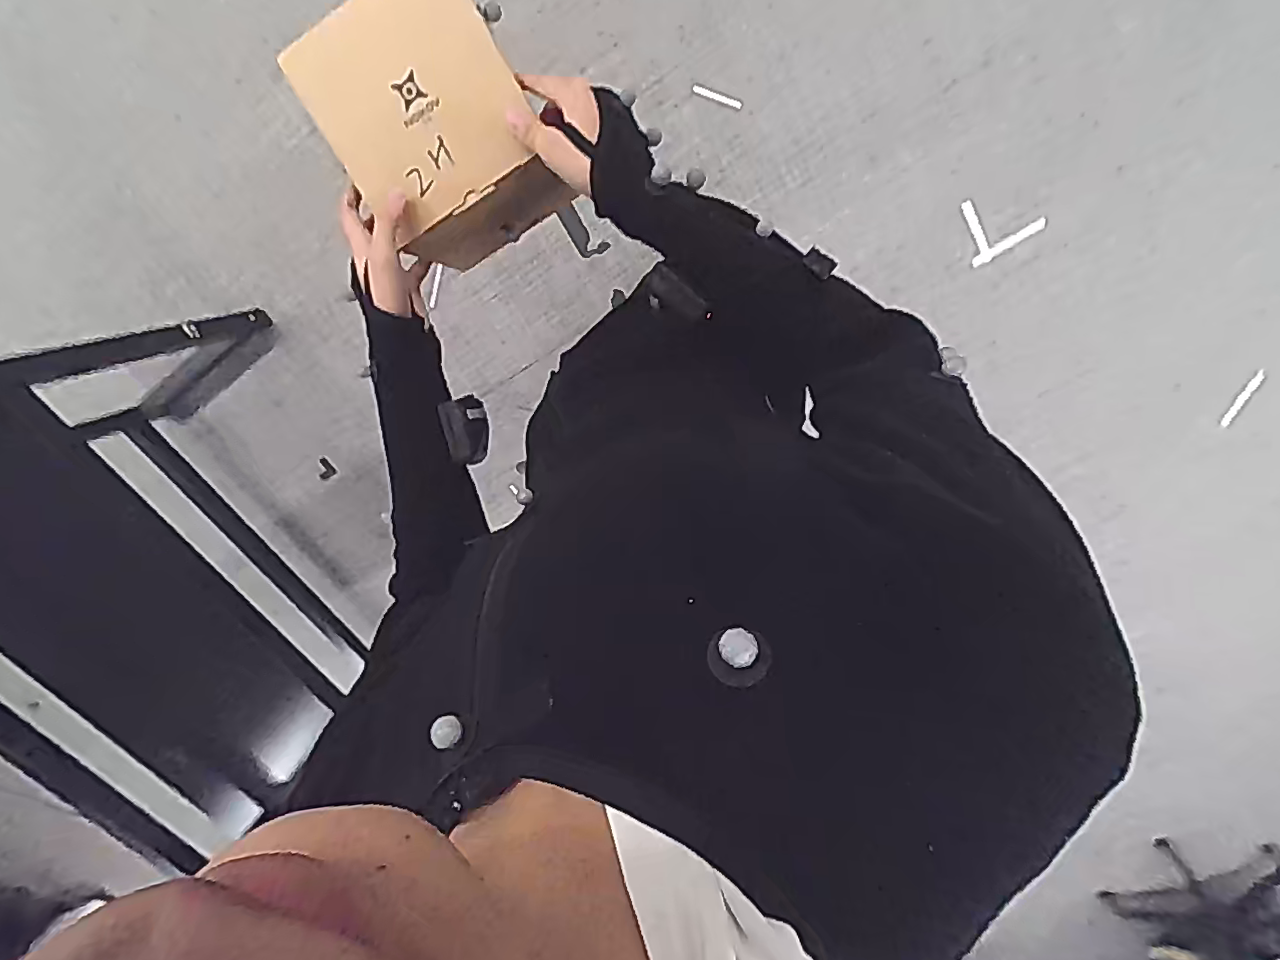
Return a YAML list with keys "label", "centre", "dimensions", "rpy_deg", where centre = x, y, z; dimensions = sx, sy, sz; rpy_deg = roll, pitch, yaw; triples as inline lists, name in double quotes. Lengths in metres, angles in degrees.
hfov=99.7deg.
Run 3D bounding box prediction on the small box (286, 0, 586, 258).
- label: "small box"
  centre: [-0.169, -0.337, 0.512]
  dimensions: [0.168, 0.176, 0.179]
  rpy_deg: [-28, 103, 9]
